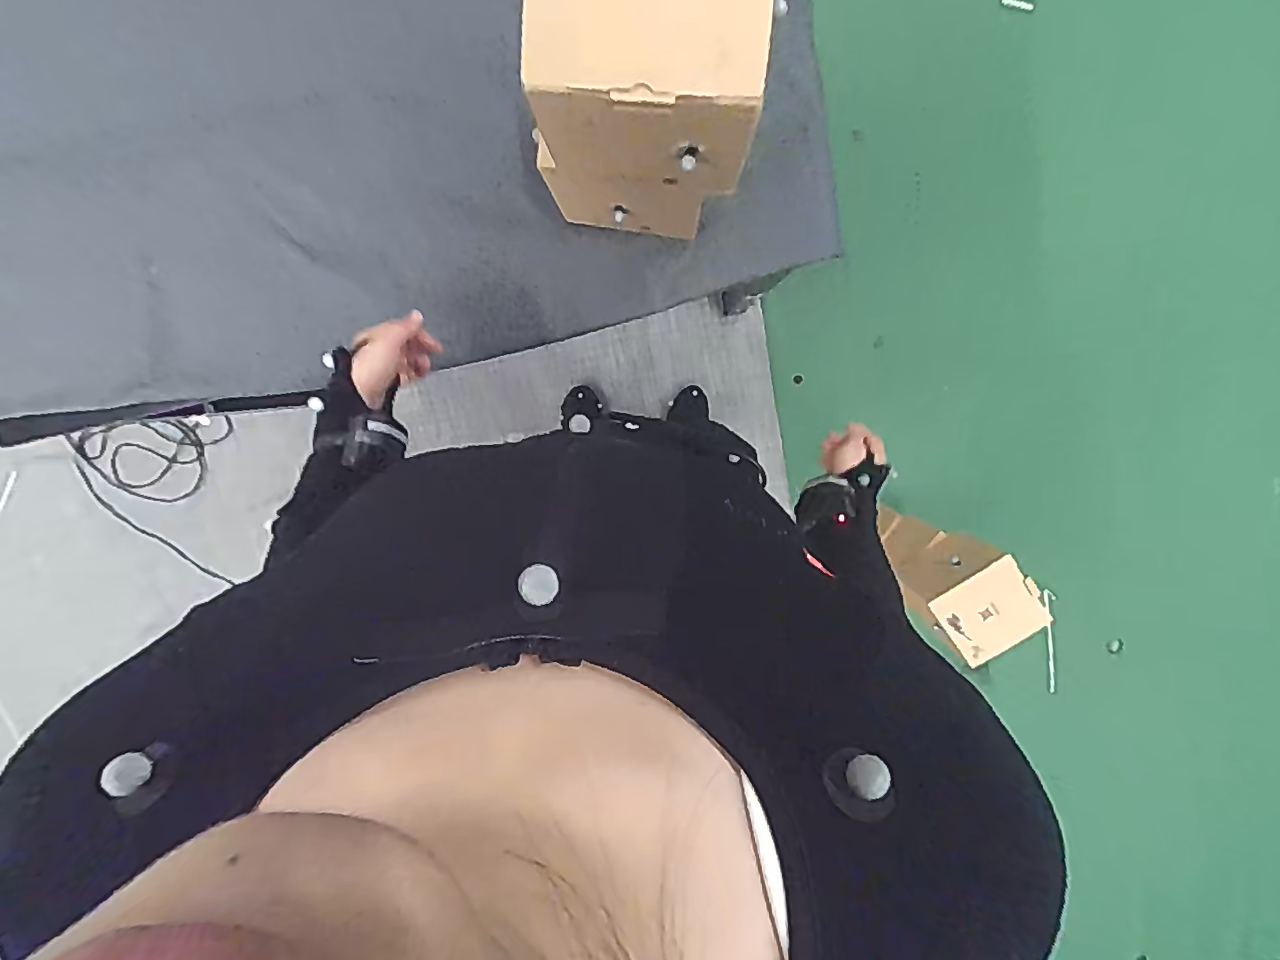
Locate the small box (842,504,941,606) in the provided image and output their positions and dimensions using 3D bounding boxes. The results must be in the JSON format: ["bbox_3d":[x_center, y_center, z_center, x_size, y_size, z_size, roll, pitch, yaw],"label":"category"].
[{"bbox_3d":[0.654,0.188,1.411,0.168,0.176,0.179,34,100,-4],"label":"small box"}]

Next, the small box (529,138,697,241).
[{"bbox_3d":[-0.011,-0.376,0.584,0.168,0.176,0.179,9,99,1],"label":"small box"}]

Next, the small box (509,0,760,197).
[{"bbox_3d":[0.002,-0.343,0.425,0.168,0.176,0.179,3,98,1],"label":"small box"}]

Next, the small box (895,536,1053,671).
[{"bbox_3d":[0.656,0.237,1.085,0.179,0.176,0.168,-36,97,8],"label":"small box"}]
